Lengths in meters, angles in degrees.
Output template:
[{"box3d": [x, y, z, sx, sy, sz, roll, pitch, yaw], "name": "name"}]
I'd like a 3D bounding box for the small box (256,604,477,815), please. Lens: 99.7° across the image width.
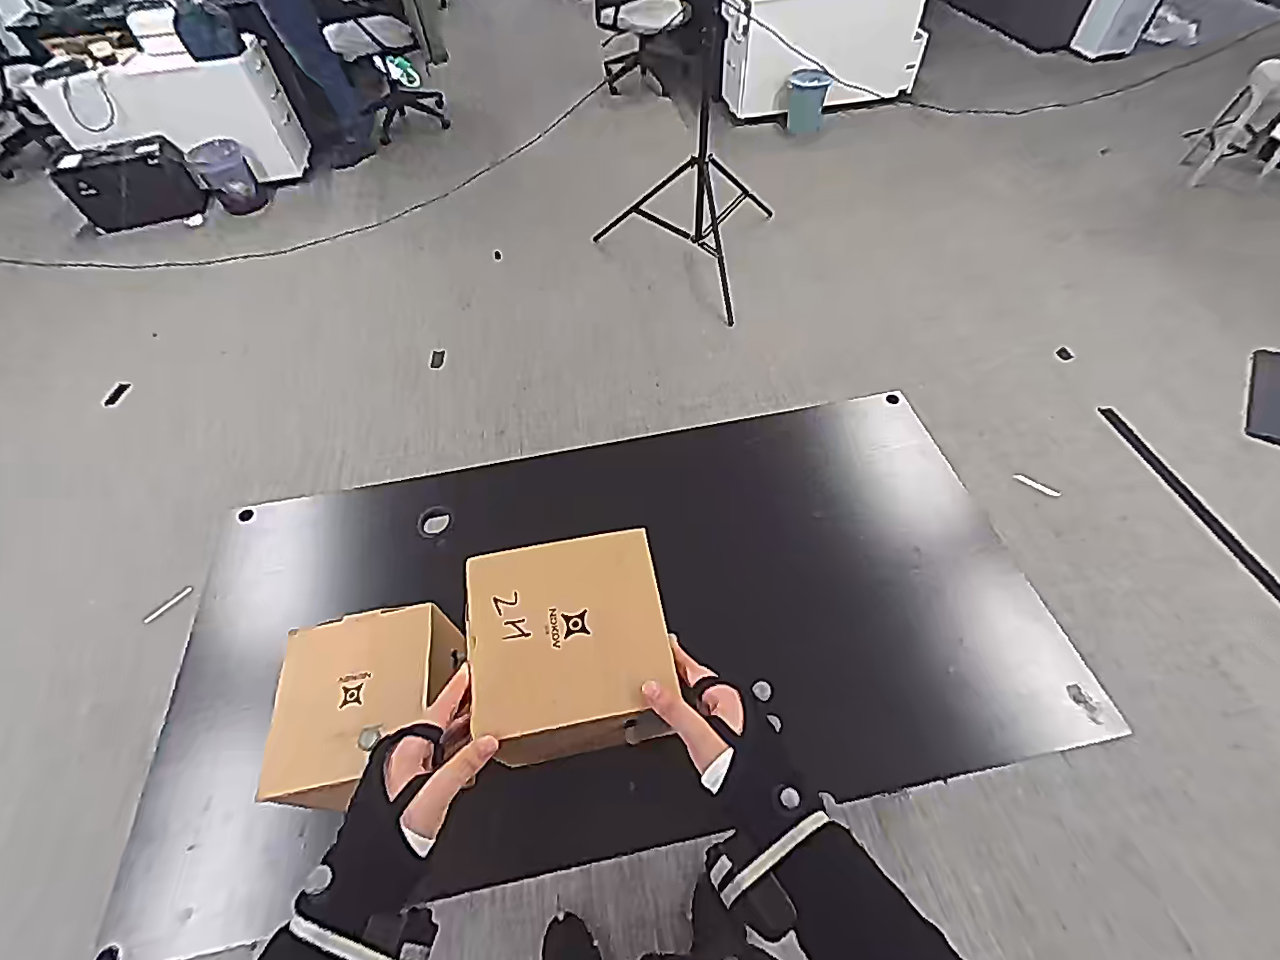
[{"box3d": [-0.297, 0.271, 0.633, 0.168, 0.176, 0.179, -11, 55, -4], "name": "small box"}]
